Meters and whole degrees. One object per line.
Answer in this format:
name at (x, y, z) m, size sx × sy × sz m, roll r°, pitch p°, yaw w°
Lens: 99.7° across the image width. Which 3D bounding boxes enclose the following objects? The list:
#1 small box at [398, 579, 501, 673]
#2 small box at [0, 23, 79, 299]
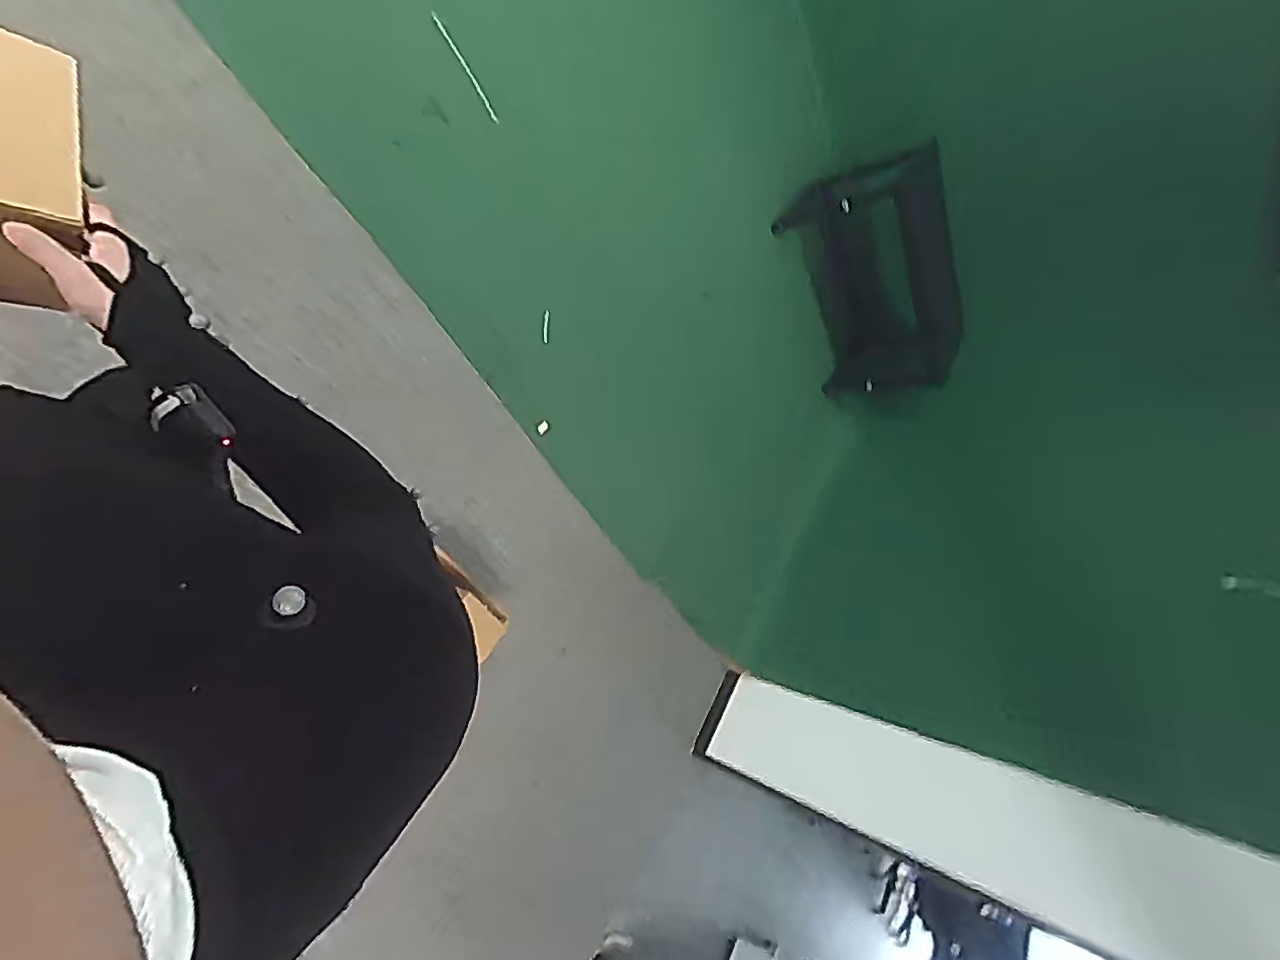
small box at (-0.527, 0.395, 1.495) m, size 0.168 × 0.176 × 0.179 m, roll -52°, pitch 128°, yaw -30°
small box at (-0.617, -0.289, 0.470) m, size 0.168 × 0.176 × 0.179 m, roll -3°, pitch 79°, yaw -50°
